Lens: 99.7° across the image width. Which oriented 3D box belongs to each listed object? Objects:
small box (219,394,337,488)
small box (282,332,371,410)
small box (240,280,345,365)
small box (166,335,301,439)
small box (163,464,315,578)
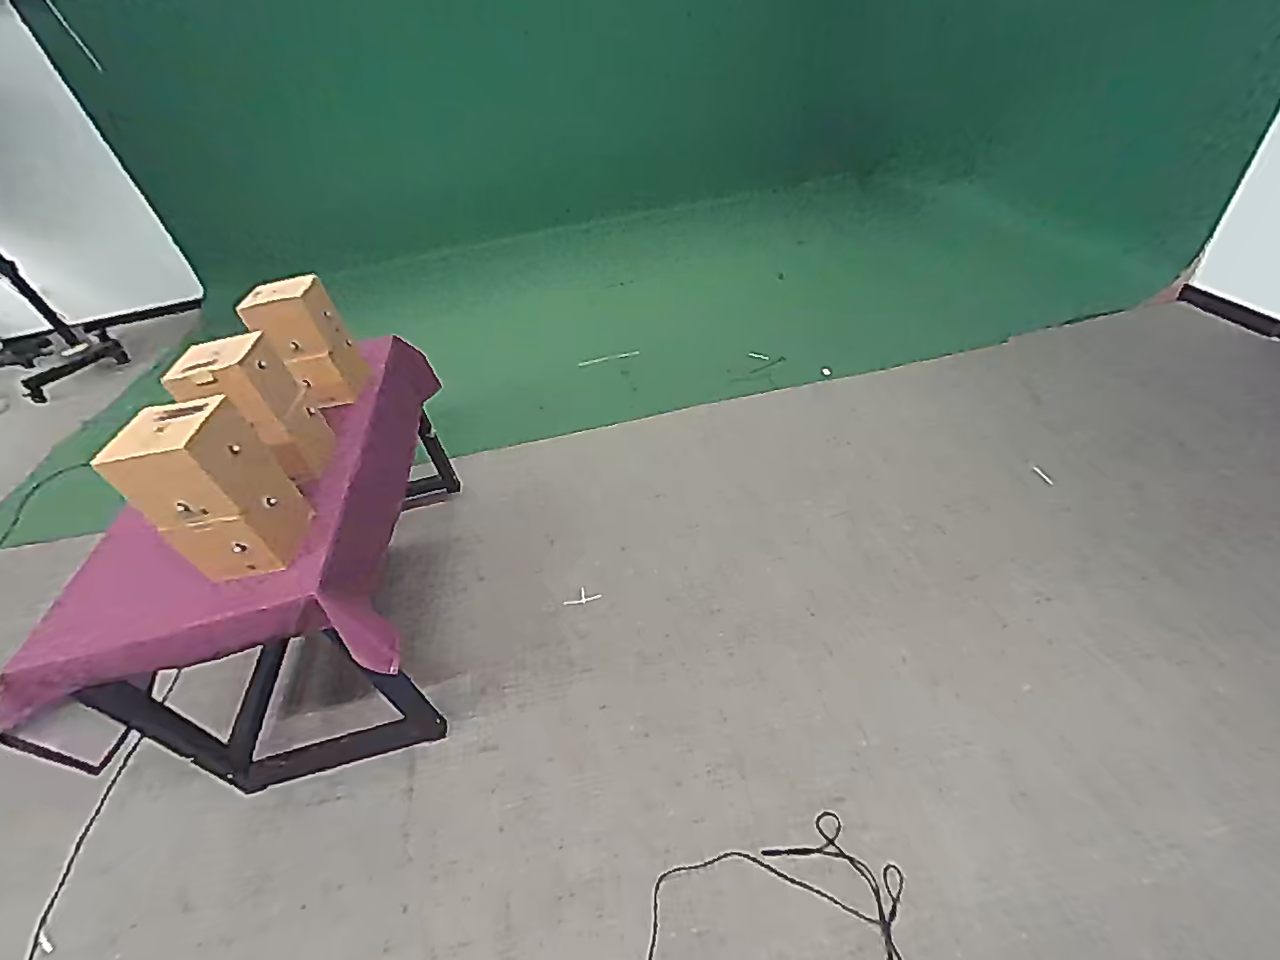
[{"bbox_3d":[-0.909,-0.093,1.383,0.168,0.176,0.179,-13,41,-1],"label":"small box"},{"bbox_3d":[-0.959,-0.328,1.659,0.168,0.176,0.179,-10,41,2],"label":"small box"},{"bbox_3d":[-0.985,-0.451,1.553,0.179,0.176,0.168,-12,41,-2],"label":"small box"},{"bbox_3d":[-0.941,-0.213,1.275,0.168,0.176,0.179,-14,40,-3],"label":"small box"},{"bbox_3d":[-0.840,0.095,1.159,0.168,0.176,0.179,-9,41,2],"label":"small box"}]
